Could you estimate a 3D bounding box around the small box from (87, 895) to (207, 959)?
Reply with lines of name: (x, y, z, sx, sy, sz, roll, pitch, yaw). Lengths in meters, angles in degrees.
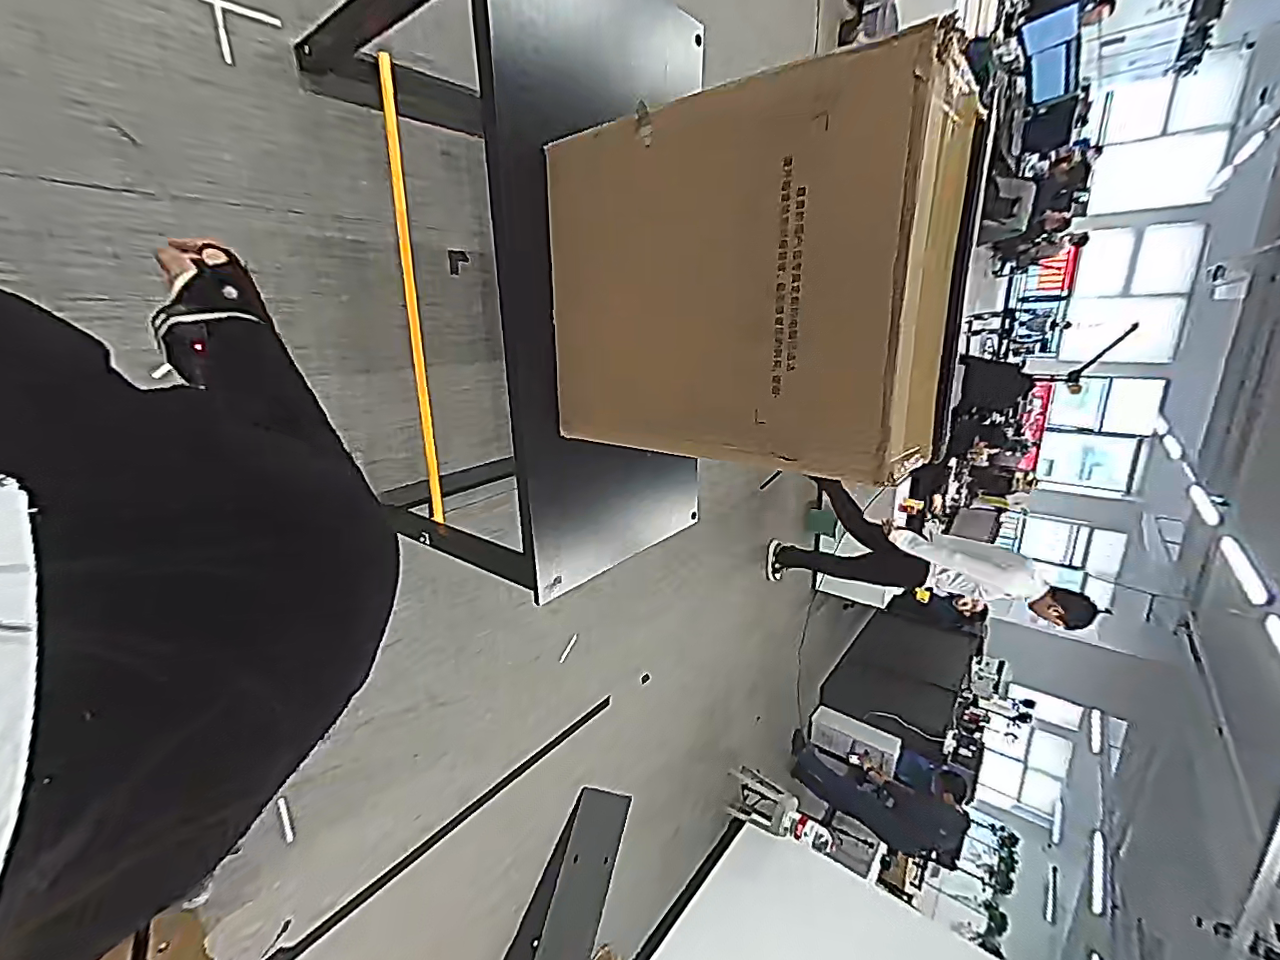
small box: (-1.135, 1.128, 1.253, 0.179, 0.176, 0.168, -14, 110, -49)
